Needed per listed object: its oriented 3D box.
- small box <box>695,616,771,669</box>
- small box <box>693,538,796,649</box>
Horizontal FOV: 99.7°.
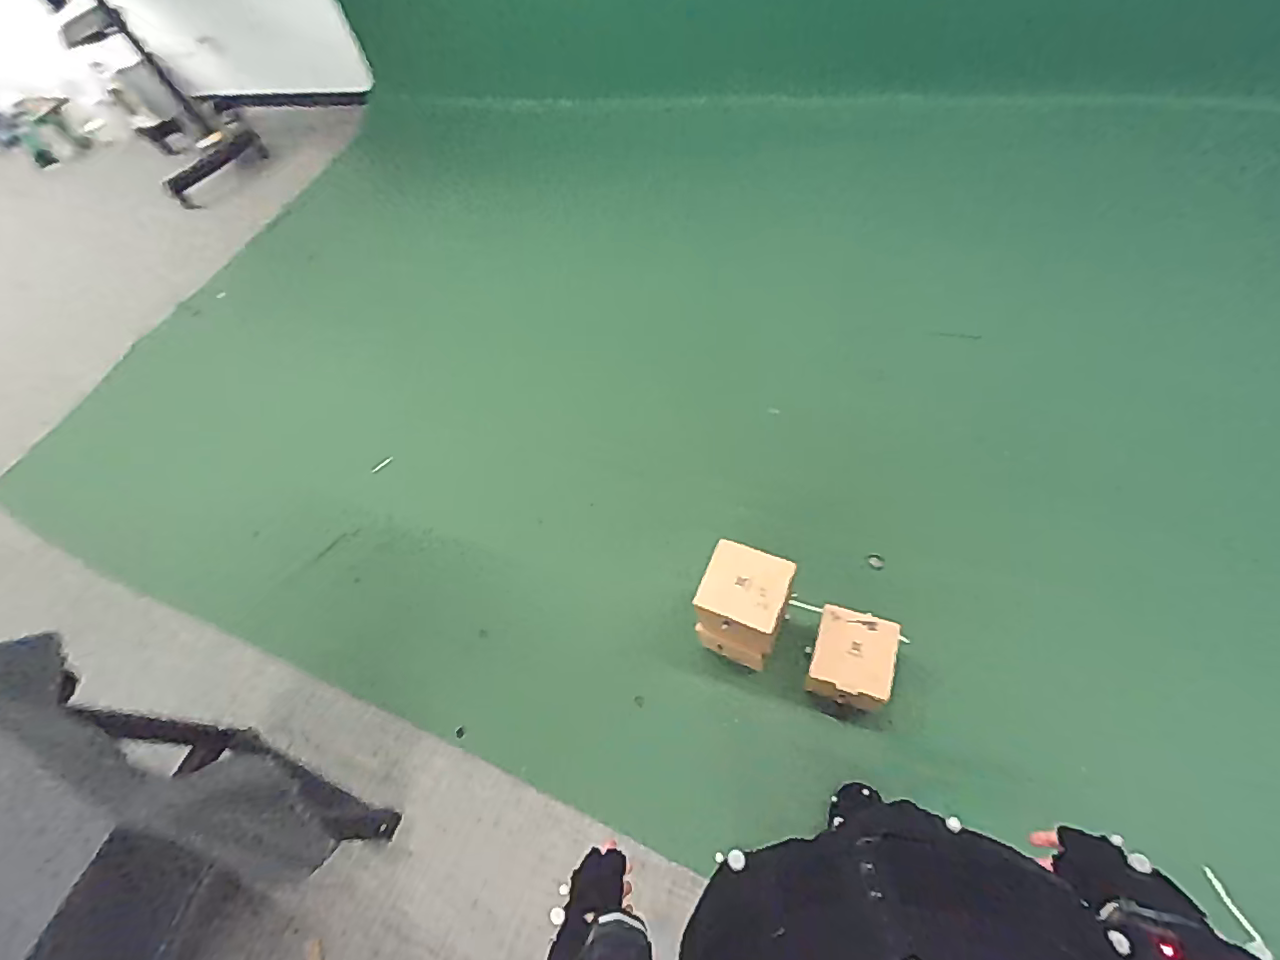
[{"bbox_3d":[0.257,0.351,1.358,0.168,0.176,0.179,20,65,23],"label":"small box"},{"bbox_3d":[0.238,0.261,1.220,0.179,0.176,0.168,18,65,23],"label":"small box"}]
